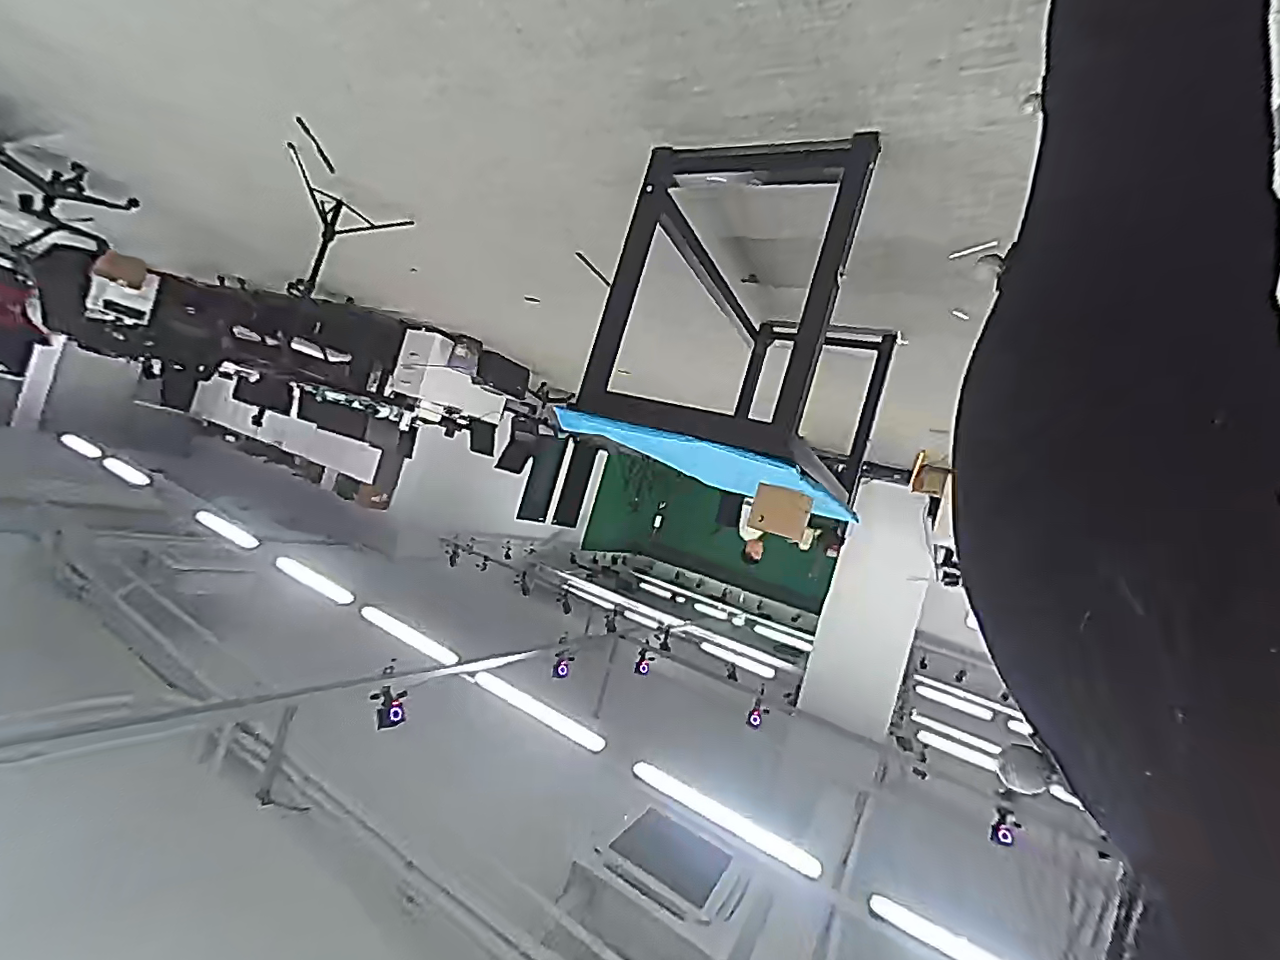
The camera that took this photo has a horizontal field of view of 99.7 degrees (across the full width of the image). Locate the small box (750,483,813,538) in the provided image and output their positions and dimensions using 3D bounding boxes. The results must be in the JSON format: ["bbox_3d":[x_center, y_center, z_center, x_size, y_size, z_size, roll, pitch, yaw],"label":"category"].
[{"bbox_3d":[0.528,0.110,2.006,0.179,0.176,0.168,14,178,27],"label":"small box"}]
